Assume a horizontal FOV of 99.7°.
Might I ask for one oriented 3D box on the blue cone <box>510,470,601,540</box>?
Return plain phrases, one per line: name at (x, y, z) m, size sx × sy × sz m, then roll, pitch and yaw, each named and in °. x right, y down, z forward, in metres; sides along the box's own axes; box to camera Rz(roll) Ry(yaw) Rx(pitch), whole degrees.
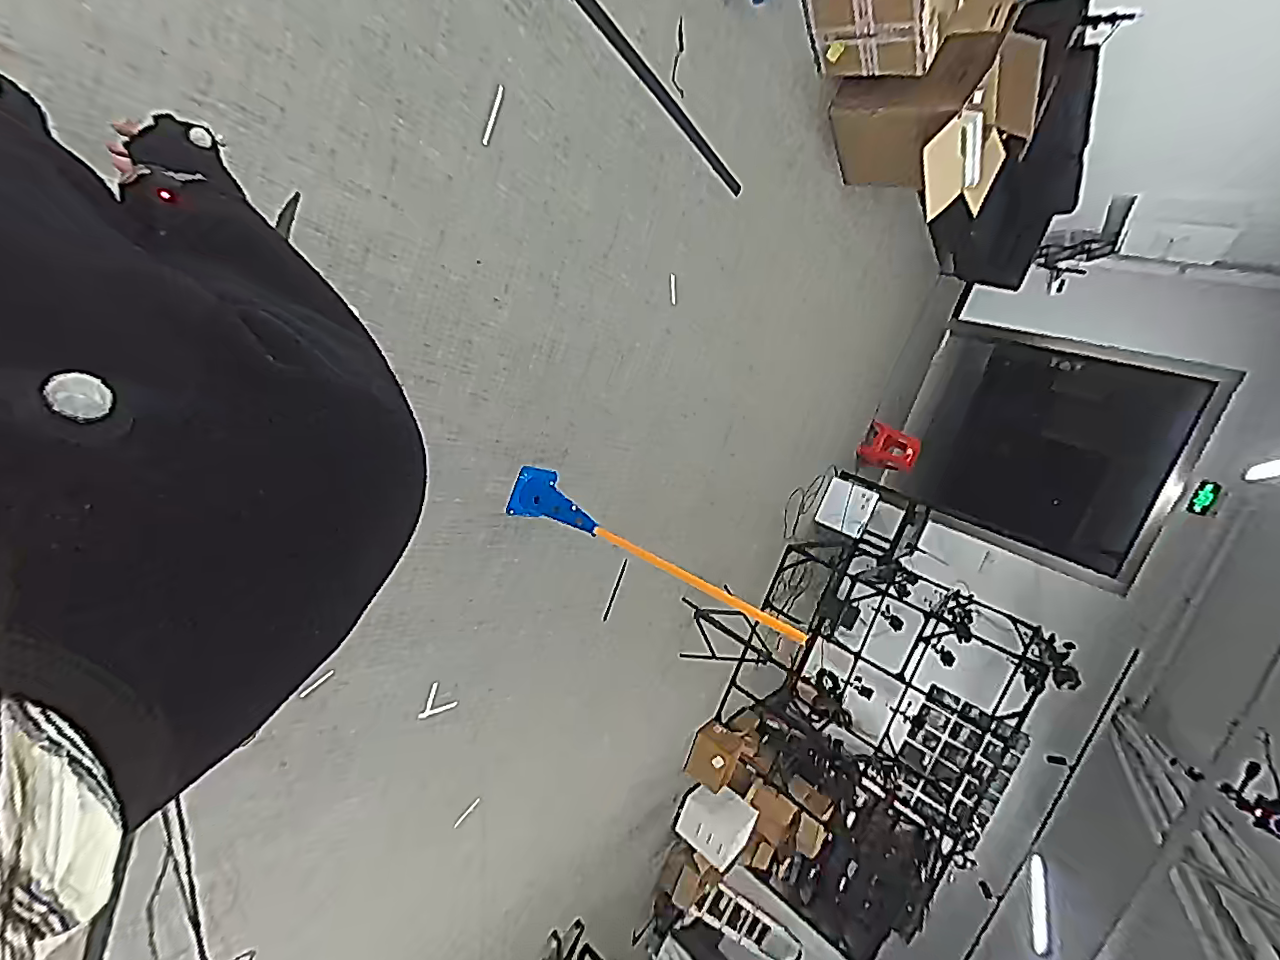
blue cone at (-0.287, 0.116, 2.008) m, size 0.193 × 0.380 × 0.192 m, roll 14°, pitch 100°, yaw -56°
